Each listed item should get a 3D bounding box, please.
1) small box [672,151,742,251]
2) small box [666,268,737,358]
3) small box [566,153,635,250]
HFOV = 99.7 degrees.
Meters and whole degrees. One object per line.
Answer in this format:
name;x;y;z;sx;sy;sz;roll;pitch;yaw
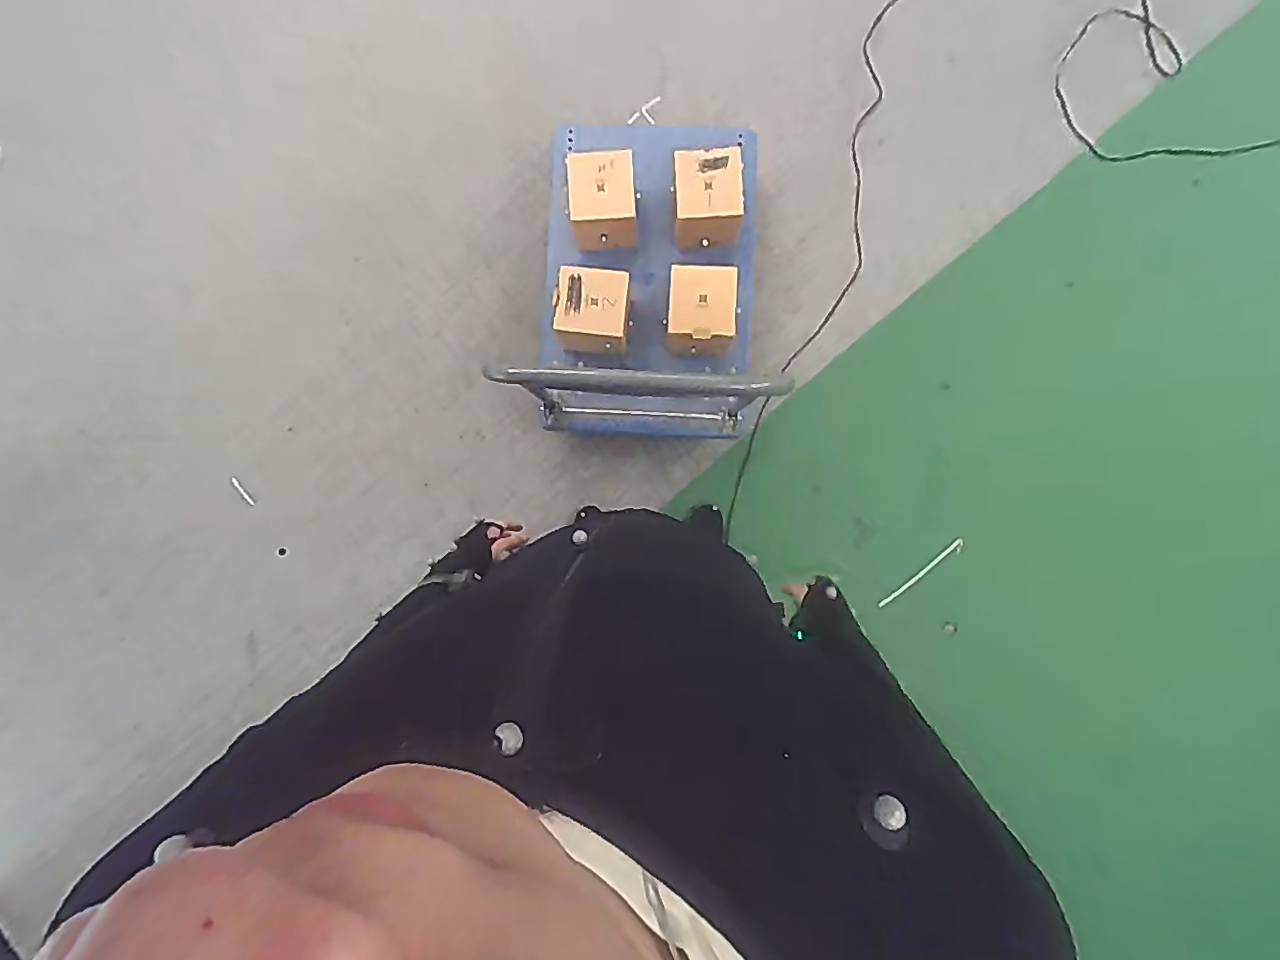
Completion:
small box;0.170;-0.725;1.418;0.168;0.176;0.179;-2;88;2
small box;0.154;-0.430;1.407;0.168;0.176;0.179;2;88;1
small box;-0.099;-0.722;1.424;0.168;0.176;0.179;-3;87;0
